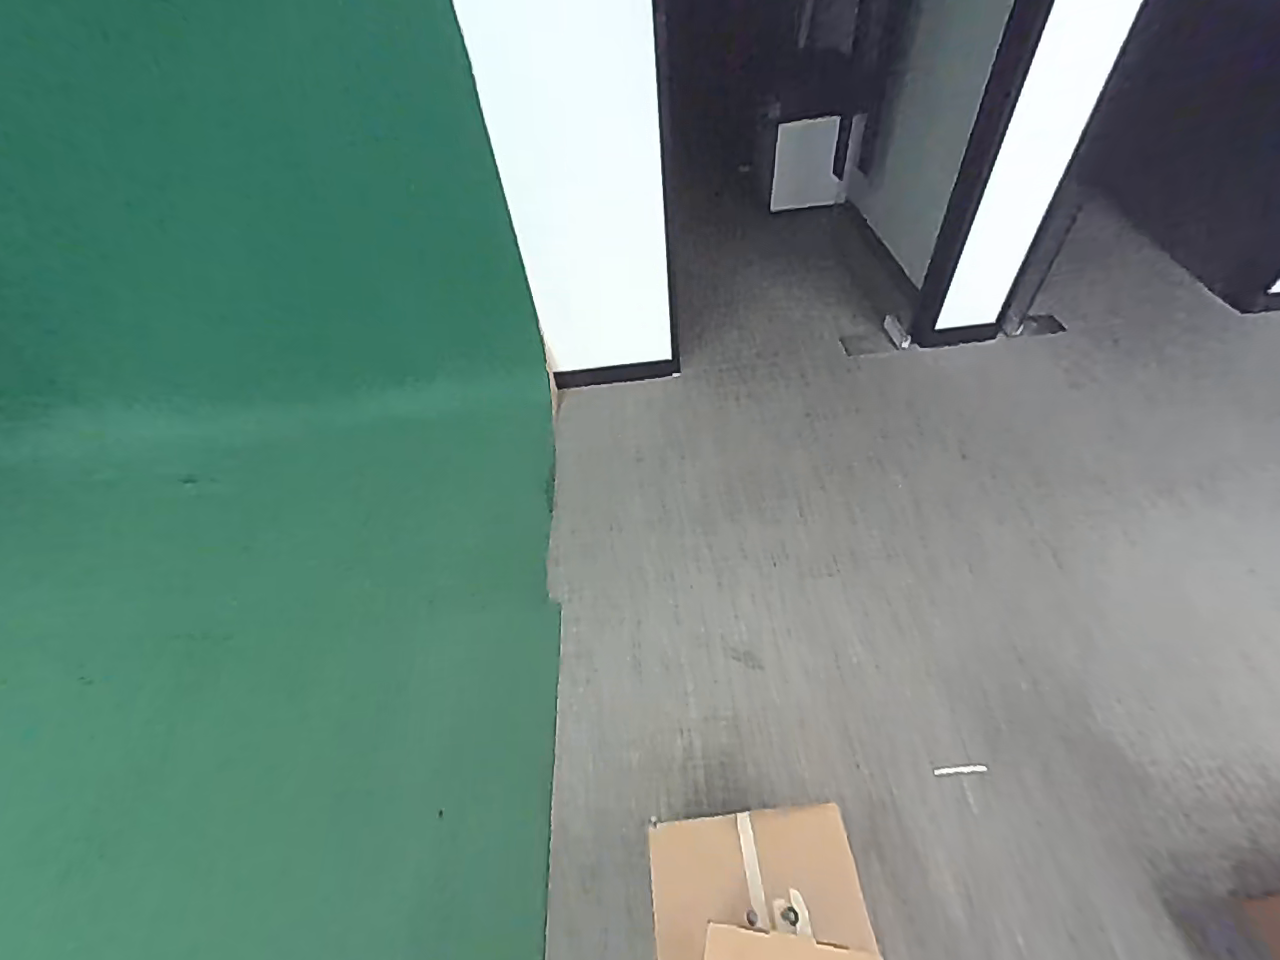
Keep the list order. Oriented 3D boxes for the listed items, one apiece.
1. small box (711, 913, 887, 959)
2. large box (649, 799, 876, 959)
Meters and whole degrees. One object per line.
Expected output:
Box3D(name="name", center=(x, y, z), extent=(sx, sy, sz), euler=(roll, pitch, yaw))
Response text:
Box3D(name="small box", center=(0.148, 0.554, 0.531), extent=(0.168, 0.176, 0.179), euler=(2, 51, 12))
Box3D(name="large box", center=(0.201, 0.787, 0.863), extent=(0.320, 0.320, 0.408), euler=(-7, 48, 1))
